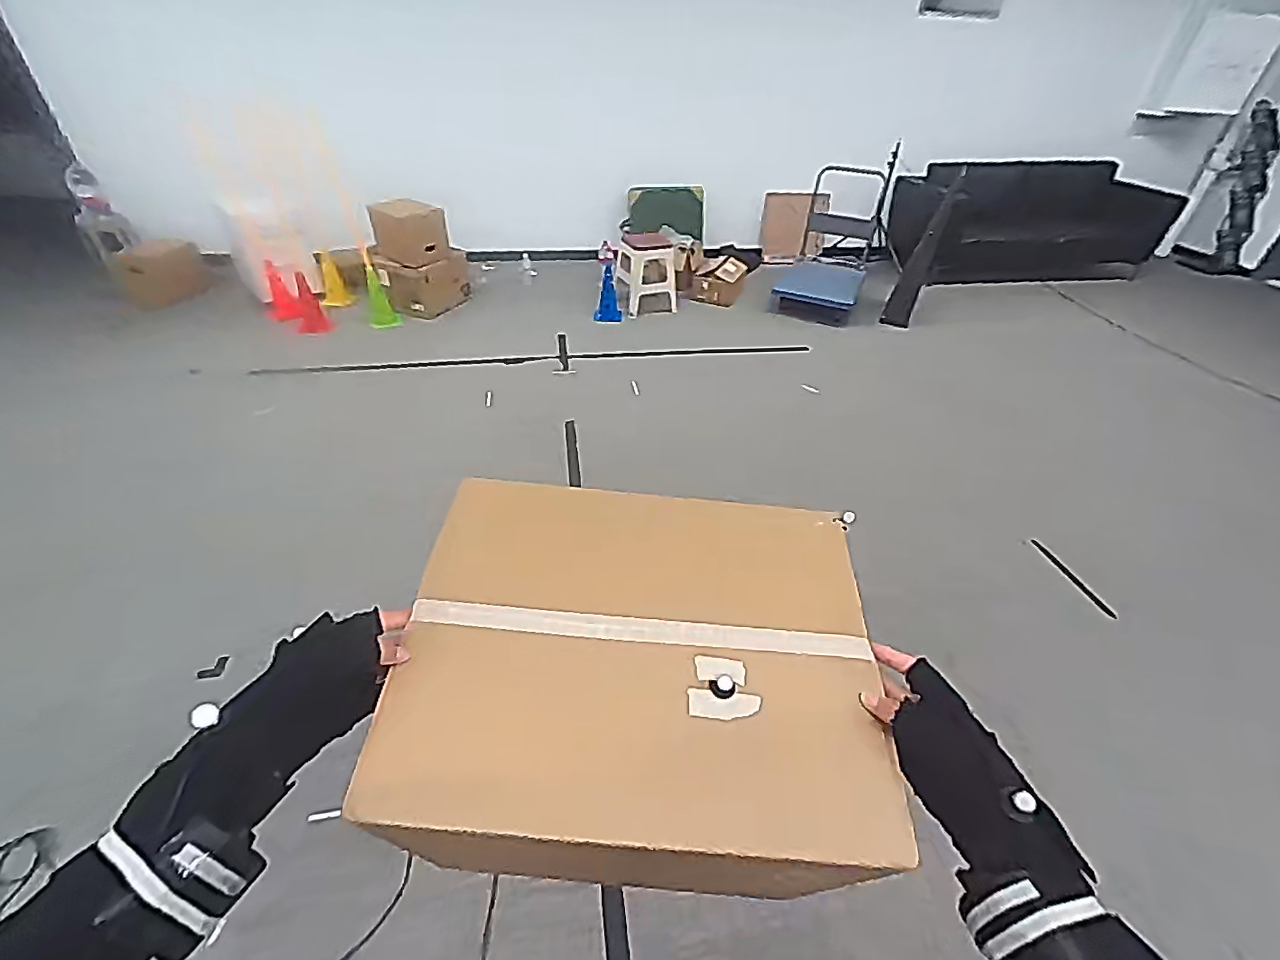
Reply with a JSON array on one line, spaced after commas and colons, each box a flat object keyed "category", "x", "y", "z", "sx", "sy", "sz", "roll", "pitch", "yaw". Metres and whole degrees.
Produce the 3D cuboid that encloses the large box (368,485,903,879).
[{"category": "large box", "x": -0.008, "y": 0.232, "z": 0.602, "sx": 0.408, "sy": 0.320, "sz": 0.320, "roll": 5, "pitch": 50, "yaw": -2}]
